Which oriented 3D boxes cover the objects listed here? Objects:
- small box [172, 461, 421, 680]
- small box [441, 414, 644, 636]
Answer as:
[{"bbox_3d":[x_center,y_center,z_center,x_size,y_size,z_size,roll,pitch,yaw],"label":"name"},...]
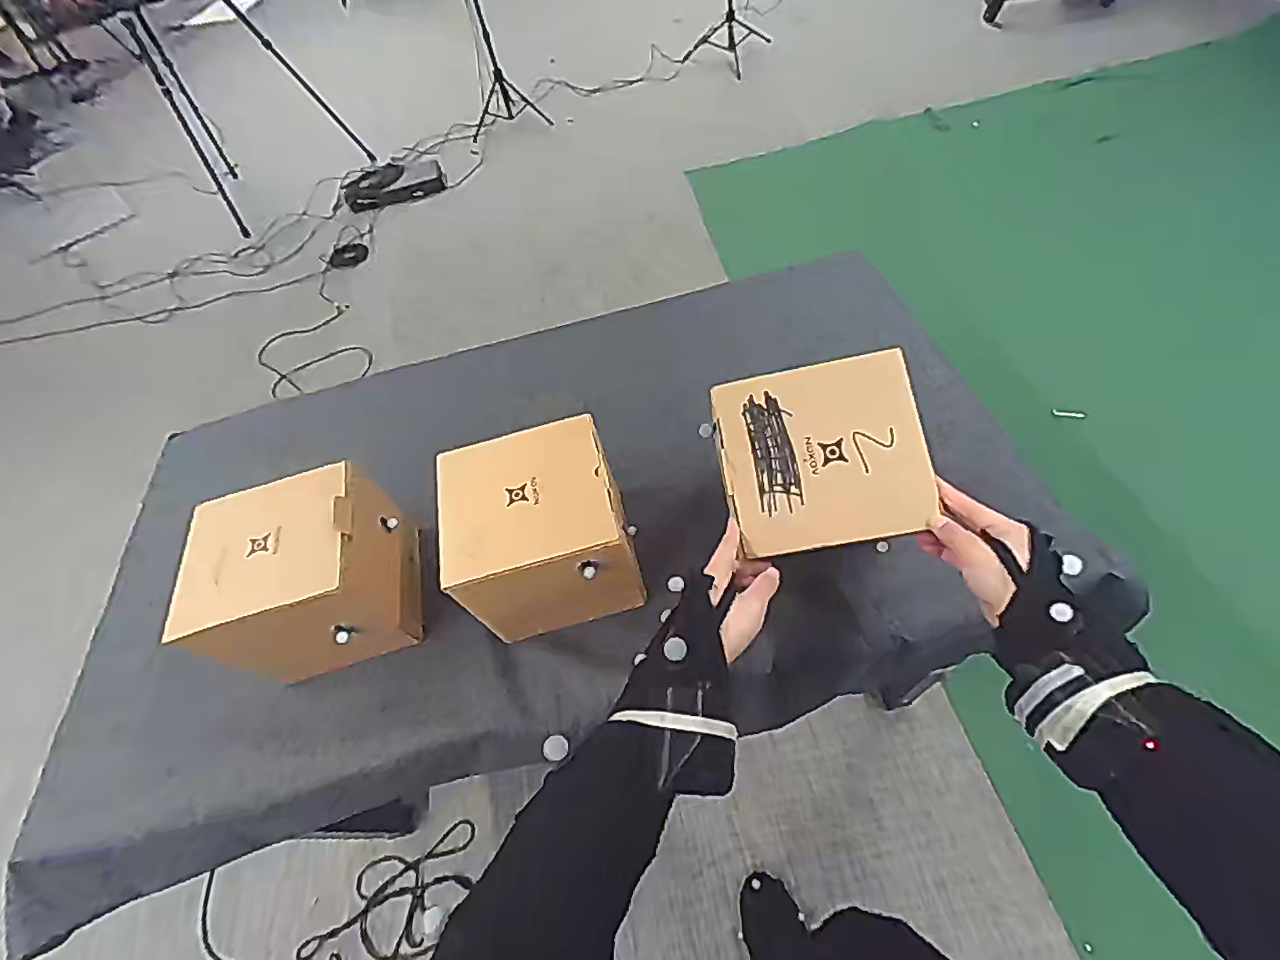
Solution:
[{"bbox_3d":[-0.371,0.110,0.627,0.179,0.176,0.168,-18,54,-1],"label":"small box"},{"bbox_3d":[-0.106,0.058,0.615,0.179,0.176,0.168,-16,55,-1],"label":"small box"}]
